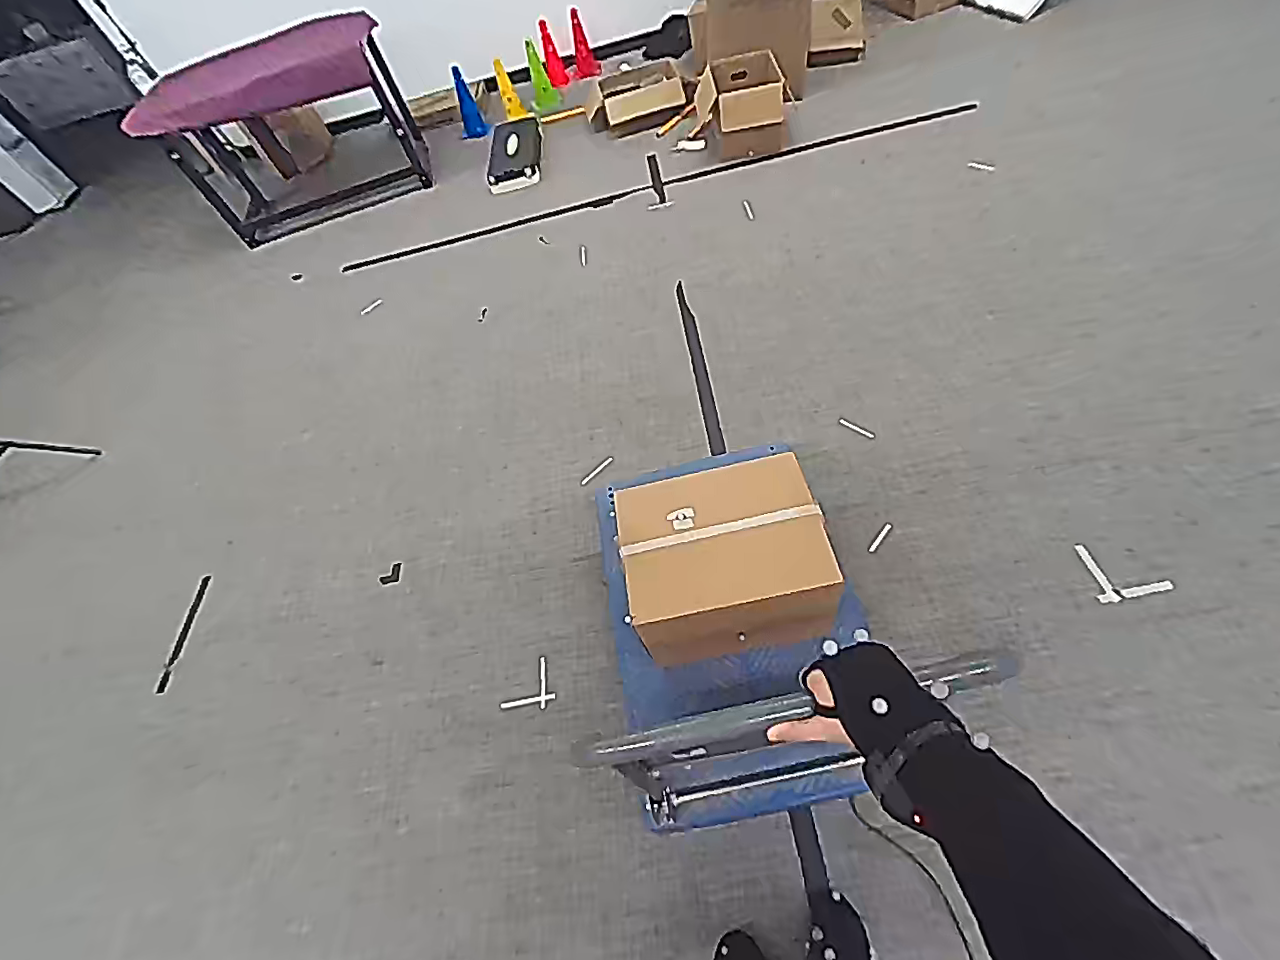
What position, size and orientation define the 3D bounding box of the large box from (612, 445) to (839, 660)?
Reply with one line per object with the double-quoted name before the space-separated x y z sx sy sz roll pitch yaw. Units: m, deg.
"large box" 0.184 0.176 1.212 0.408 0.320 0.320 -14 54 5
